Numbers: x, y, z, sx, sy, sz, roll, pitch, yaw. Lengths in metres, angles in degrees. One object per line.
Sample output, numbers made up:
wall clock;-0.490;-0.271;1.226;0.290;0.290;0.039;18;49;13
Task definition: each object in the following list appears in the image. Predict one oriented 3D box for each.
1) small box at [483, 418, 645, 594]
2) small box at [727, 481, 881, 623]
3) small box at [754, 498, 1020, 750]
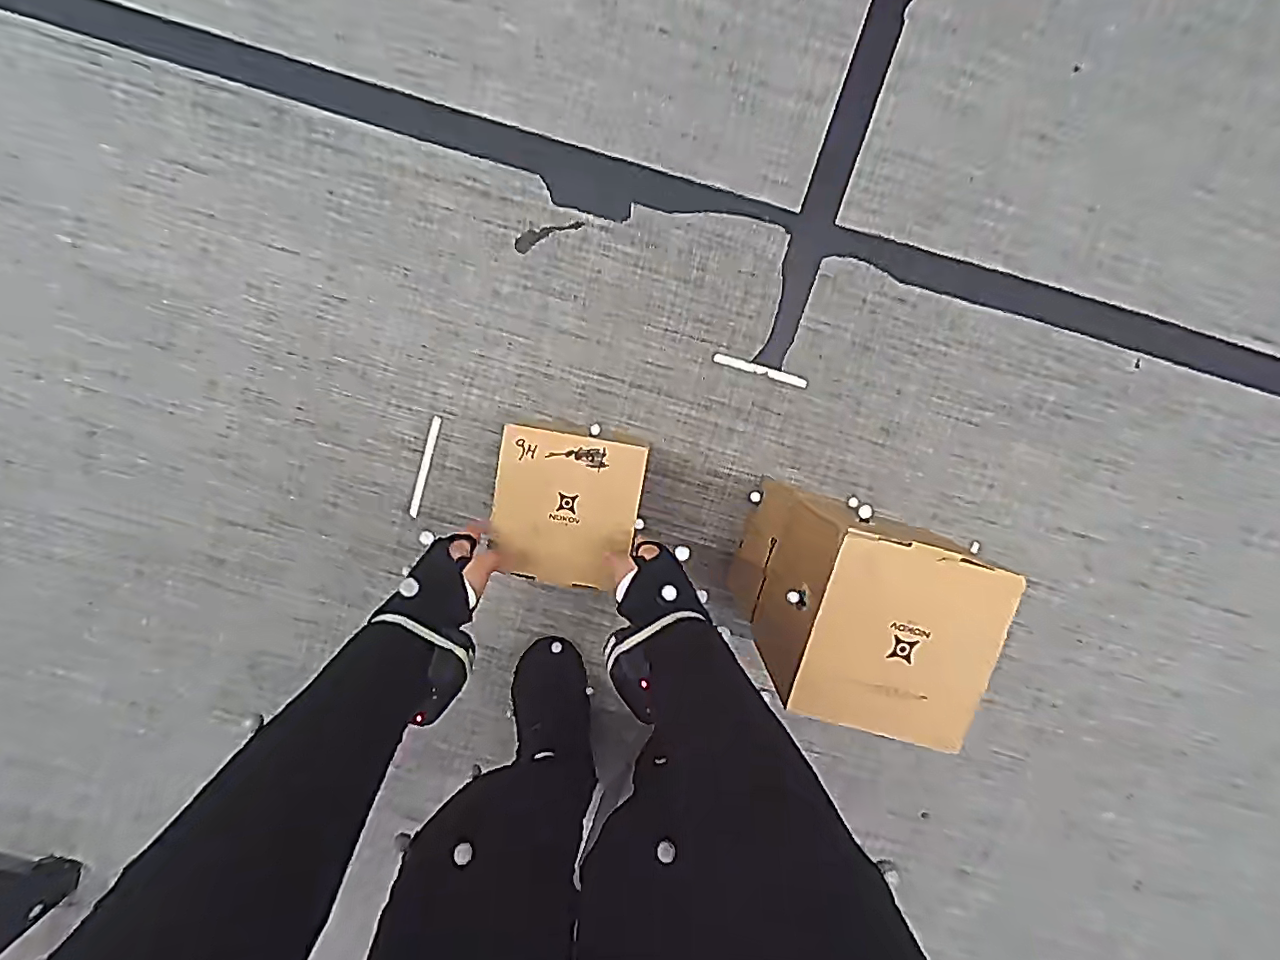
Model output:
small box;-0.087;0.022;0.695;0.168;0.176;0.179;10;99;-2
small box;0.231;0.108;0.713;0.179;0.176;0.168;19;98;-5
small box;0.228;0.130;0.552;0.168;0.176;0.179;15;100;-2
